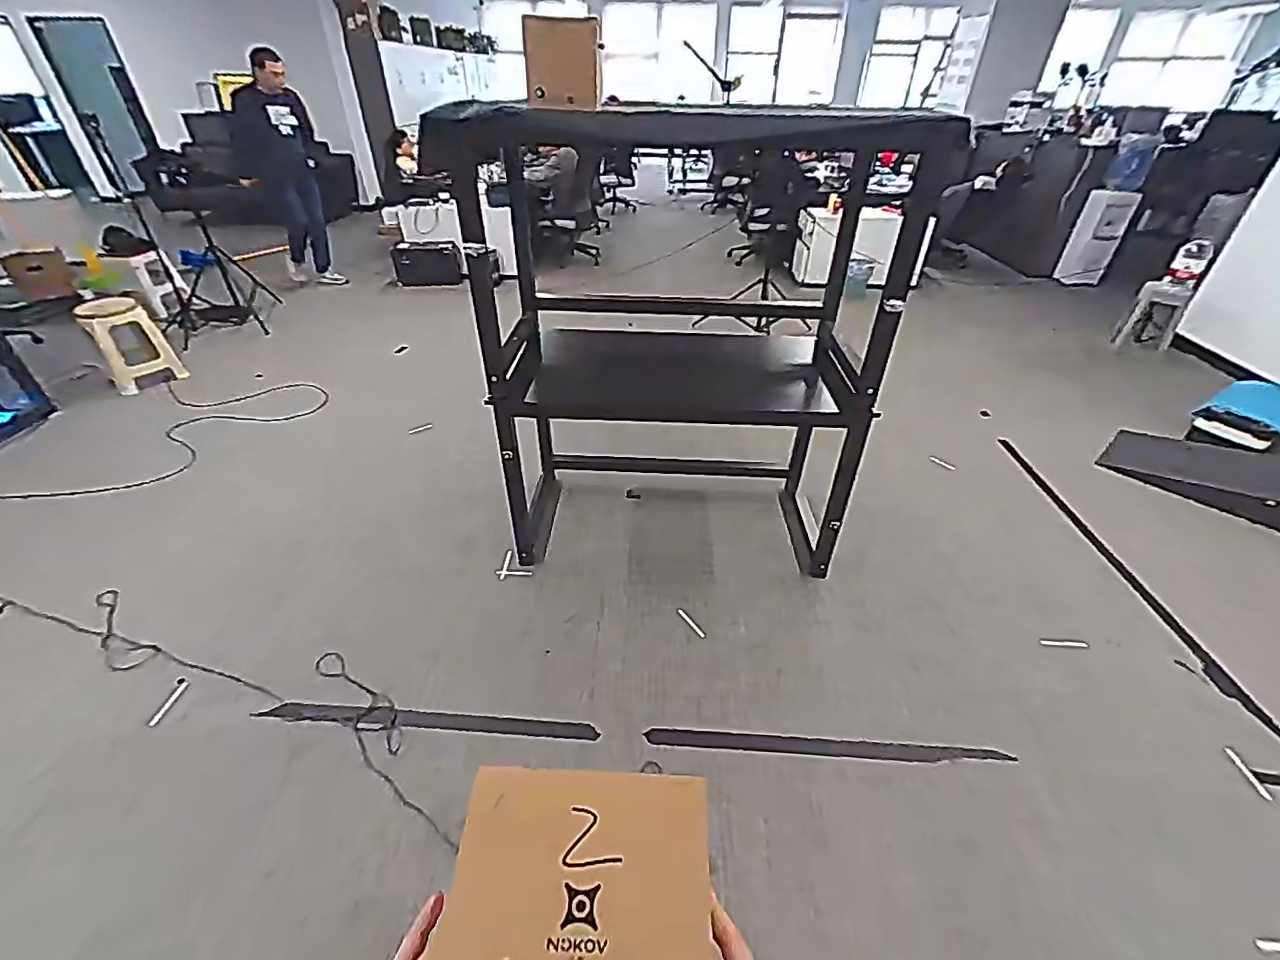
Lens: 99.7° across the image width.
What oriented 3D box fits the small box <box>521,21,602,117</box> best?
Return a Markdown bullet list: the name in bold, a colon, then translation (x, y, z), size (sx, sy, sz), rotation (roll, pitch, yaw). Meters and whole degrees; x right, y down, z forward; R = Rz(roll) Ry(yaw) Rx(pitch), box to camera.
- **small box**: translation (-0.177, -0.960, 1.274), size (0.168, 0.176, 0.179), rotation (2, 34, -1)
